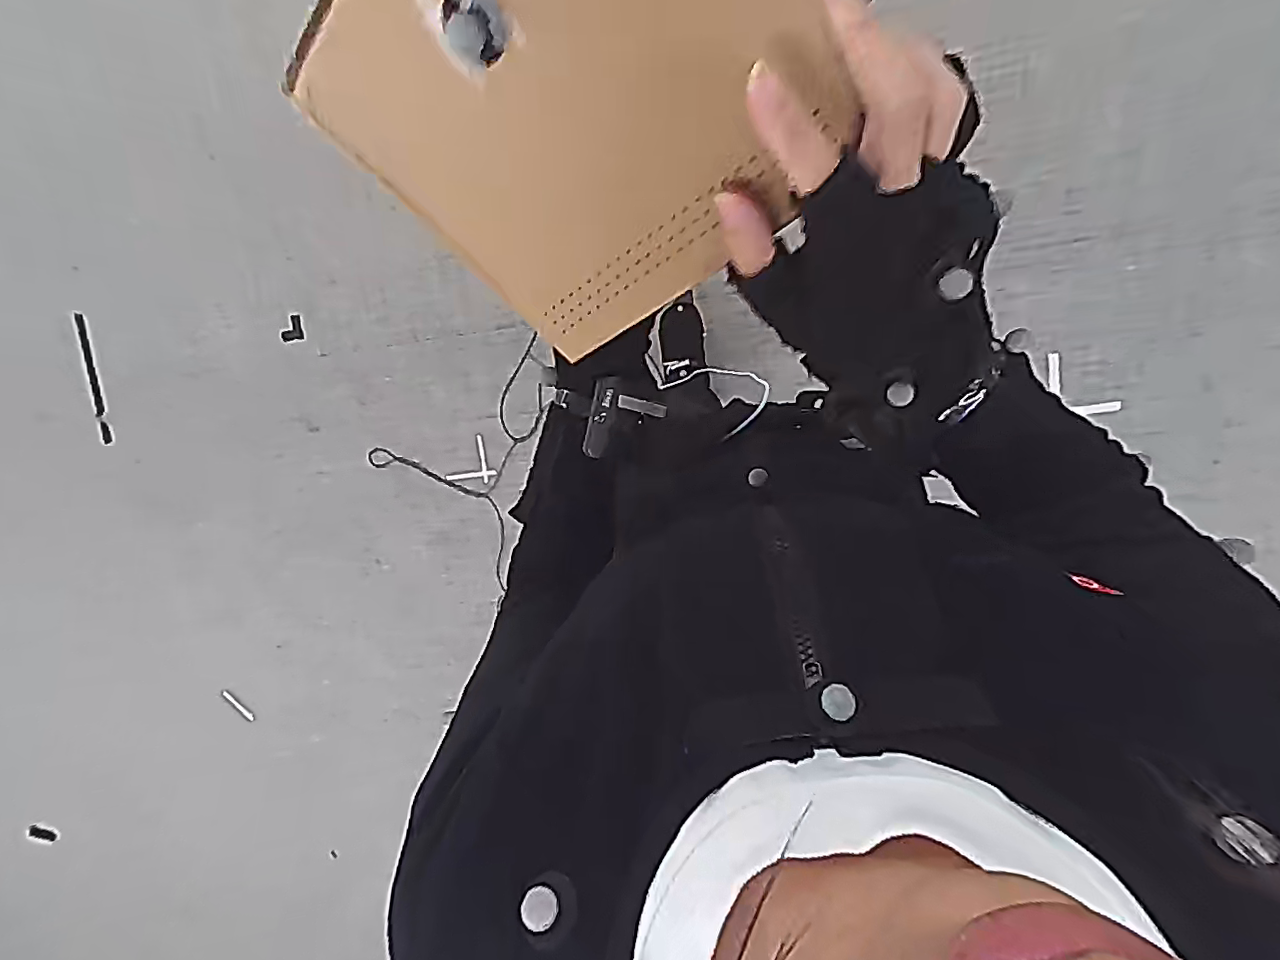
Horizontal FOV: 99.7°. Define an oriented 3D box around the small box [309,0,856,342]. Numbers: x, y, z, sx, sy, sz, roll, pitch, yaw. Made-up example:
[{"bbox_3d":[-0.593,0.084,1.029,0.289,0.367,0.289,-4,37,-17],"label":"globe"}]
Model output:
[{"bbox_3d":[-0.015,-0.203,0.271,0.179,0.168,0.176,-21,133,39],"label":"small box"}]
